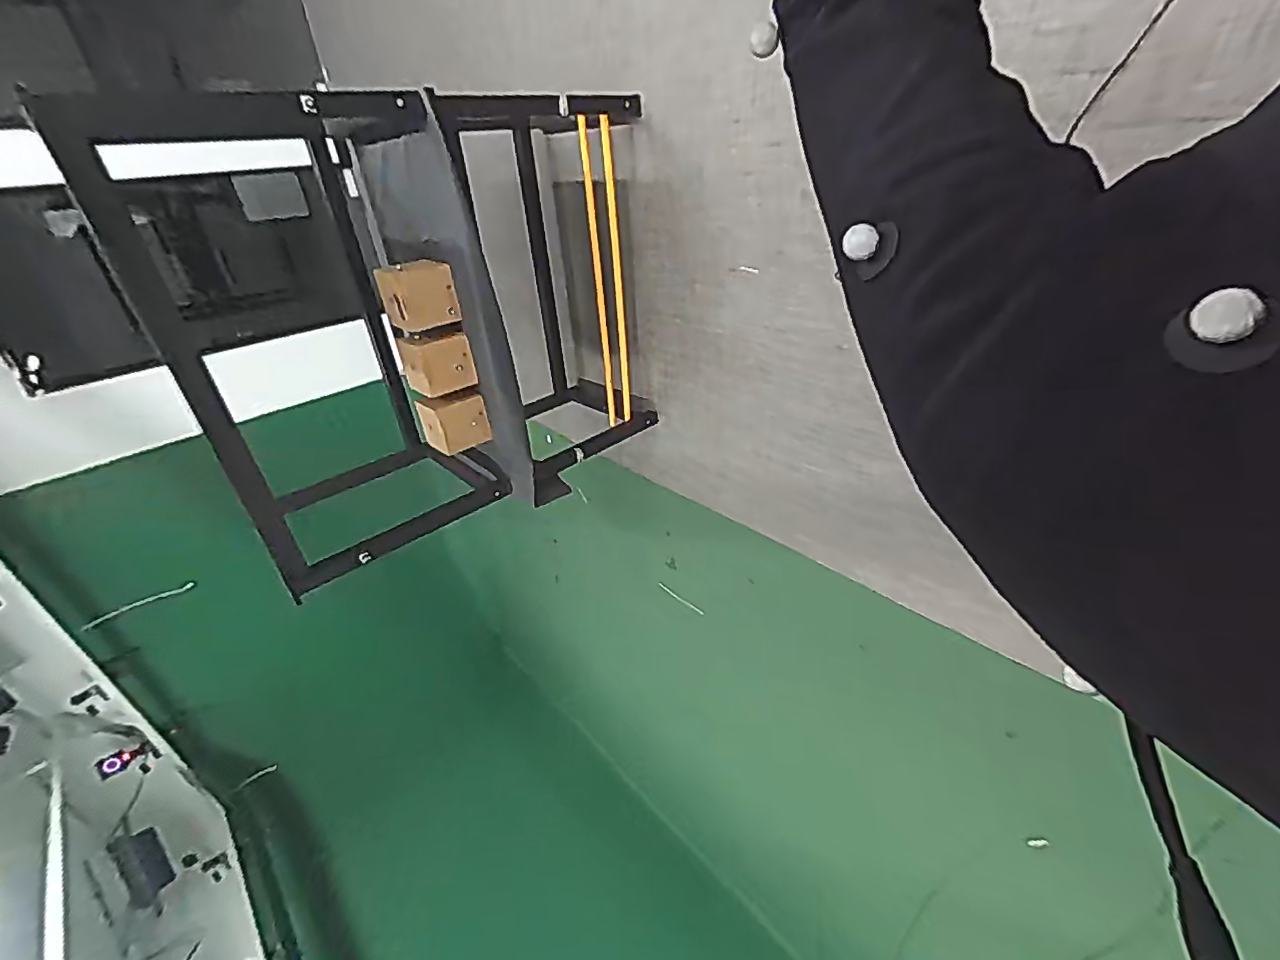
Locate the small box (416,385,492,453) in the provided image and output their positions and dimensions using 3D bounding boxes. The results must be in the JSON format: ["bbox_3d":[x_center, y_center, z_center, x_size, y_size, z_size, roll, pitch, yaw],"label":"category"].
[{"bbox_3d":[-0.635,-0.215,1.854,0.179,0.176,0.168,24,131,42],"label":"small box"}]
